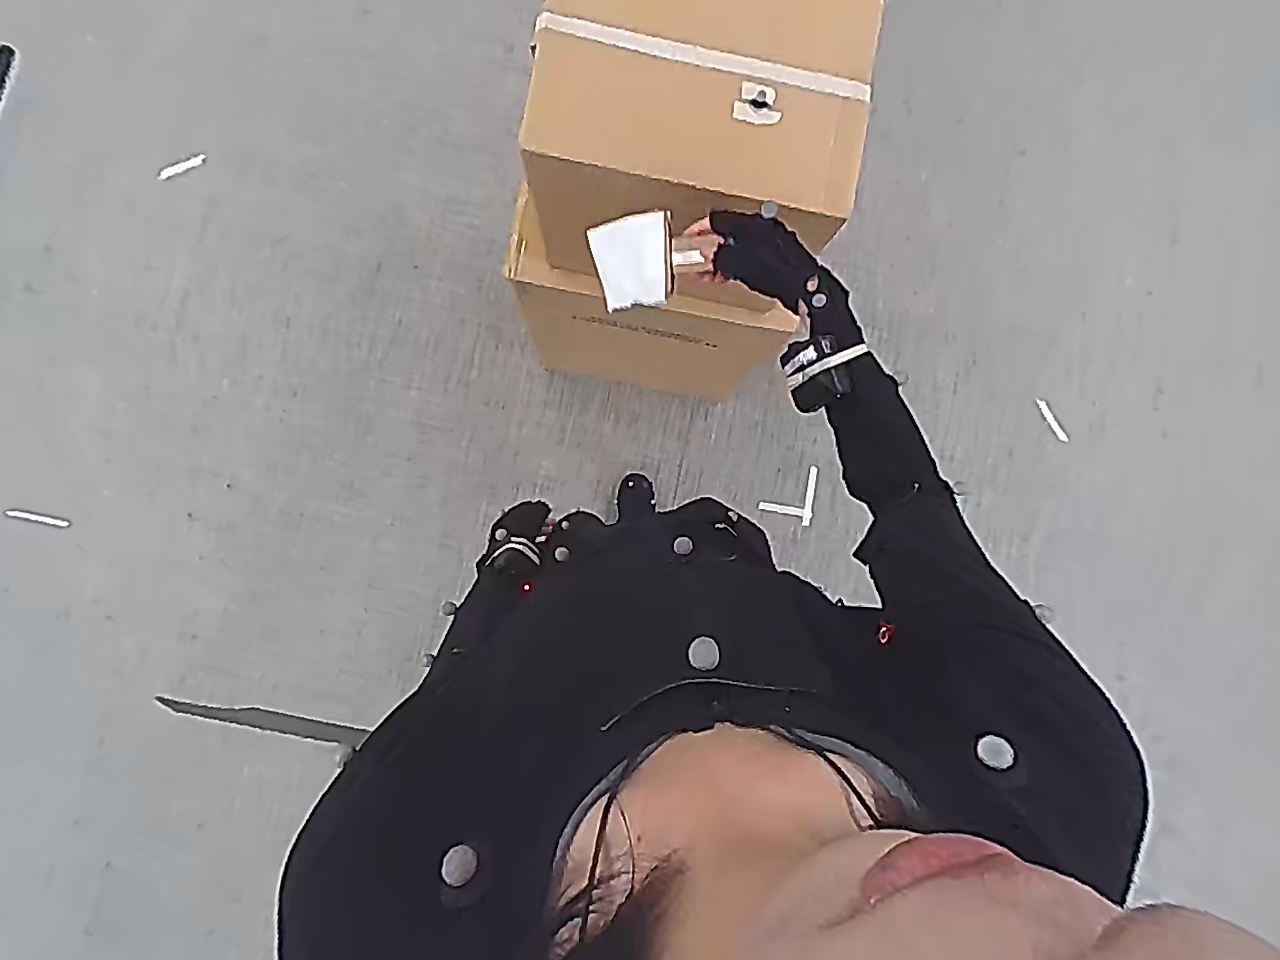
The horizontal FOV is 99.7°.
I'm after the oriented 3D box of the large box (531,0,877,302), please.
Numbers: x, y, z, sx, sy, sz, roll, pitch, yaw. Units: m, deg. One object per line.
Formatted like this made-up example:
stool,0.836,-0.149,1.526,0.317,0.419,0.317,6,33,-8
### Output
large box,0.072,-0.502,0.813,0.408,0.320,0.320,10,87,-4
